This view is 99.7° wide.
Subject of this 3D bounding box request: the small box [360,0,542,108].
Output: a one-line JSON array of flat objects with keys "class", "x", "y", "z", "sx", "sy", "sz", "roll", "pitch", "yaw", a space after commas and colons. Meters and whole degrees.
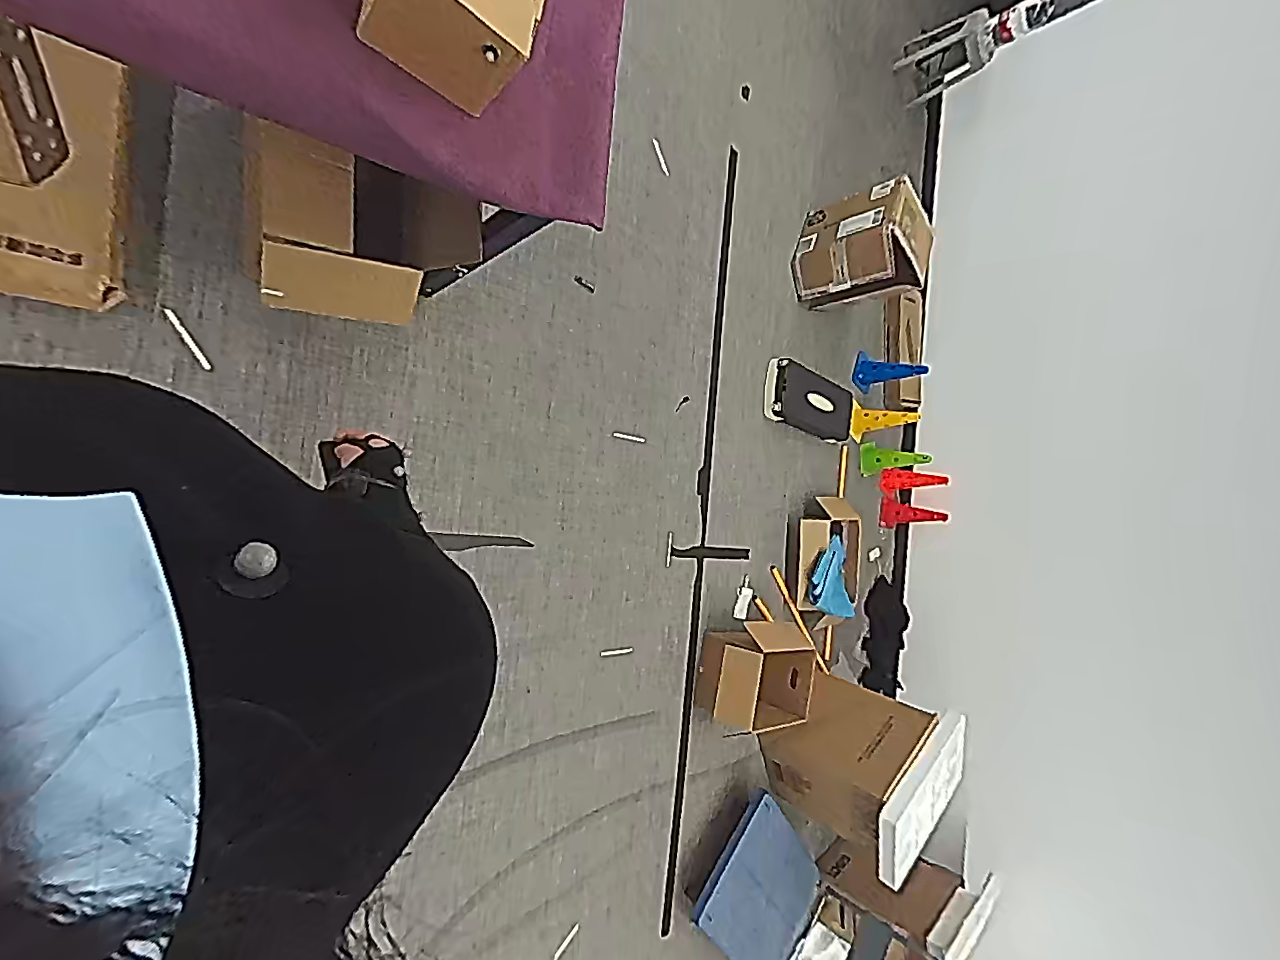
[{"class": "small box", "x": -0.245, "y": -0.644, "z": 0.712, "sx": 0.179, "sy": 0.176, "sz": 0.168, "roll": 15, "pitch": 82, "yaw": -42}]
